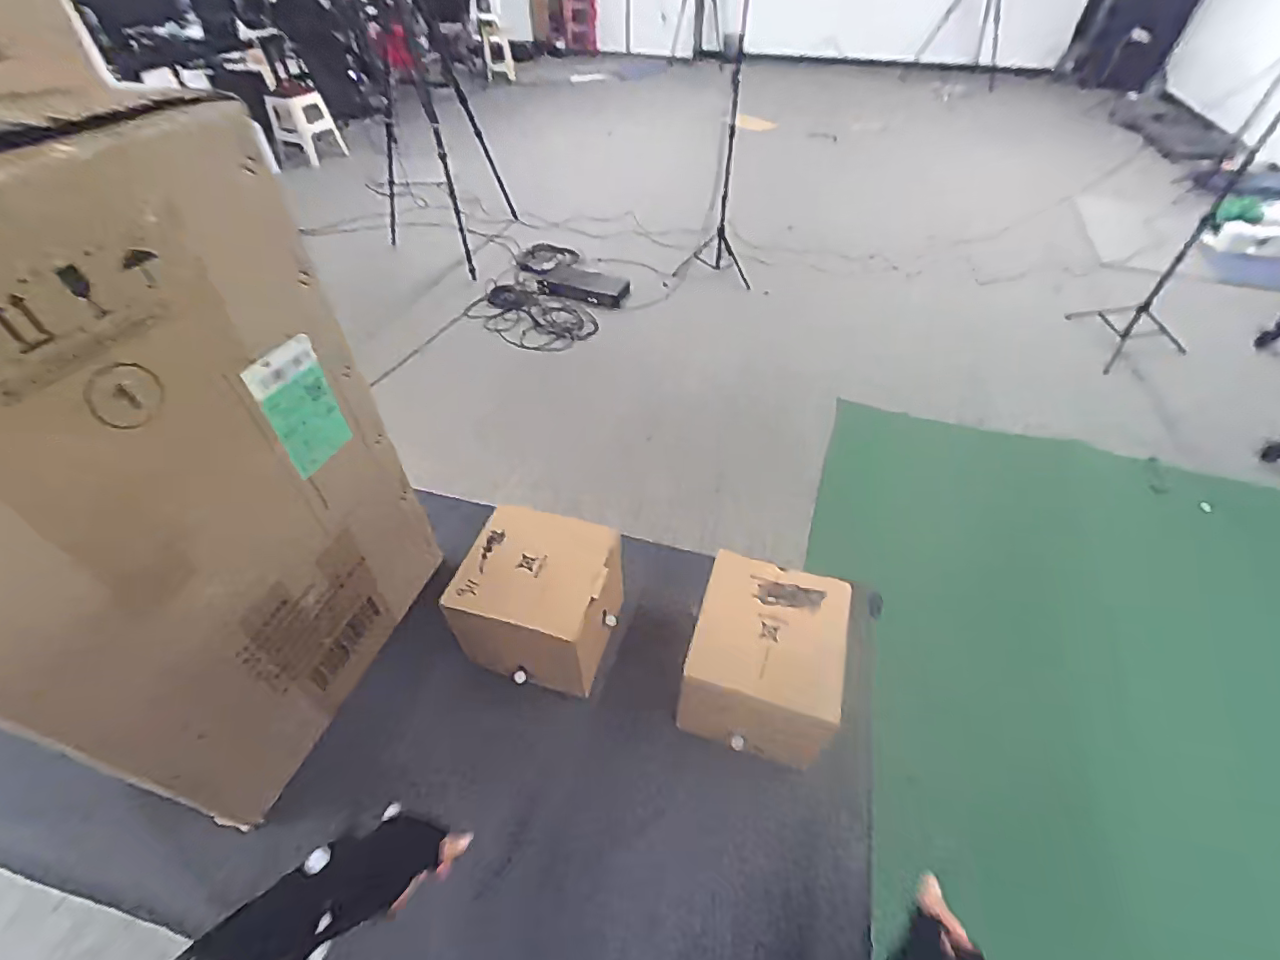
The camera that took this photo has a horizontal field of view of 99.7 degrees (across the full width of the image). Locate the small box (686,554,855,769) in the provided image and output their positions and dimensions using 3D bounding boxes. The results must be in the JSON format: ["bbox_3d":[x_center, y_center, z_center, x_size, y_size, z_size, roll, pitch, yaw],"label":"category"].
[{"bbox_3d":[0.158,0.228,0.681,0.168,0.176,0.179,13,49,13],"label":"small box"}]

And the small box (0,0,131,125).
[{"bbox_3d":[-0.476,-0.312,0.313,0.179,0.176,0.168,14,43,12],"label":"small box"}]

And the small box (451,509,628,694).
[{"bbox_3d":[-0.123,0.169,0.739,0.179,0.176,0.168,13,47,10],"label":"small box"}]
